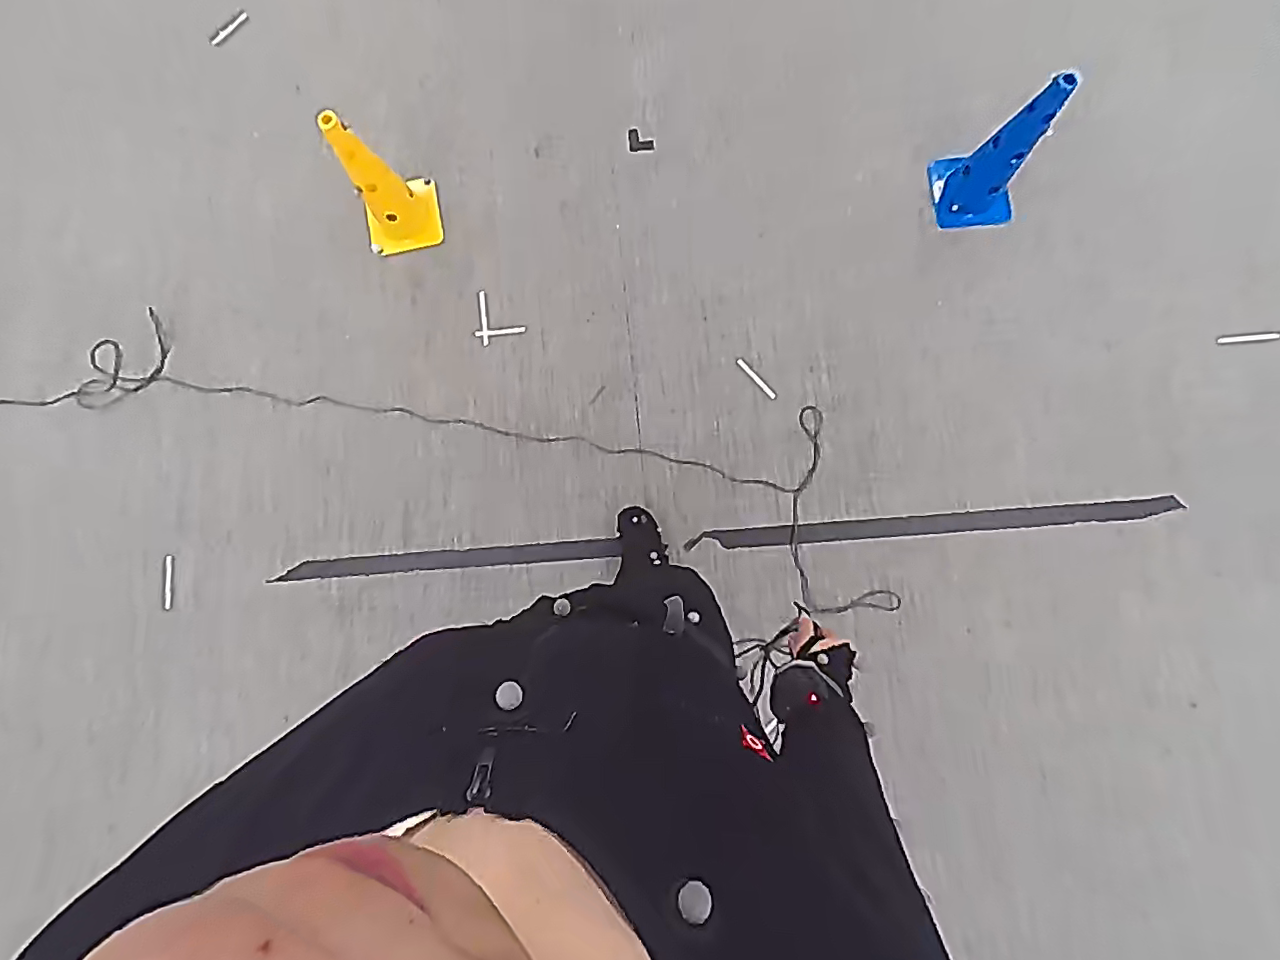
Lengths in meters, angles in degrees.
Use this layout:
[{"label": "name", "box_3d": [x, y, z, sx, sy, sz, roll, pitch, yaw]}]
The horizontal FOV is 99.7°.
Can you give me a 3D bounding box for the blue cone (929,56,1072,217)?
[{"label": "blue cone", "box_3d": [0.875, -0.817, 1.285, 0.193, 0.380, 0.192, -4, 82, 1]}]
